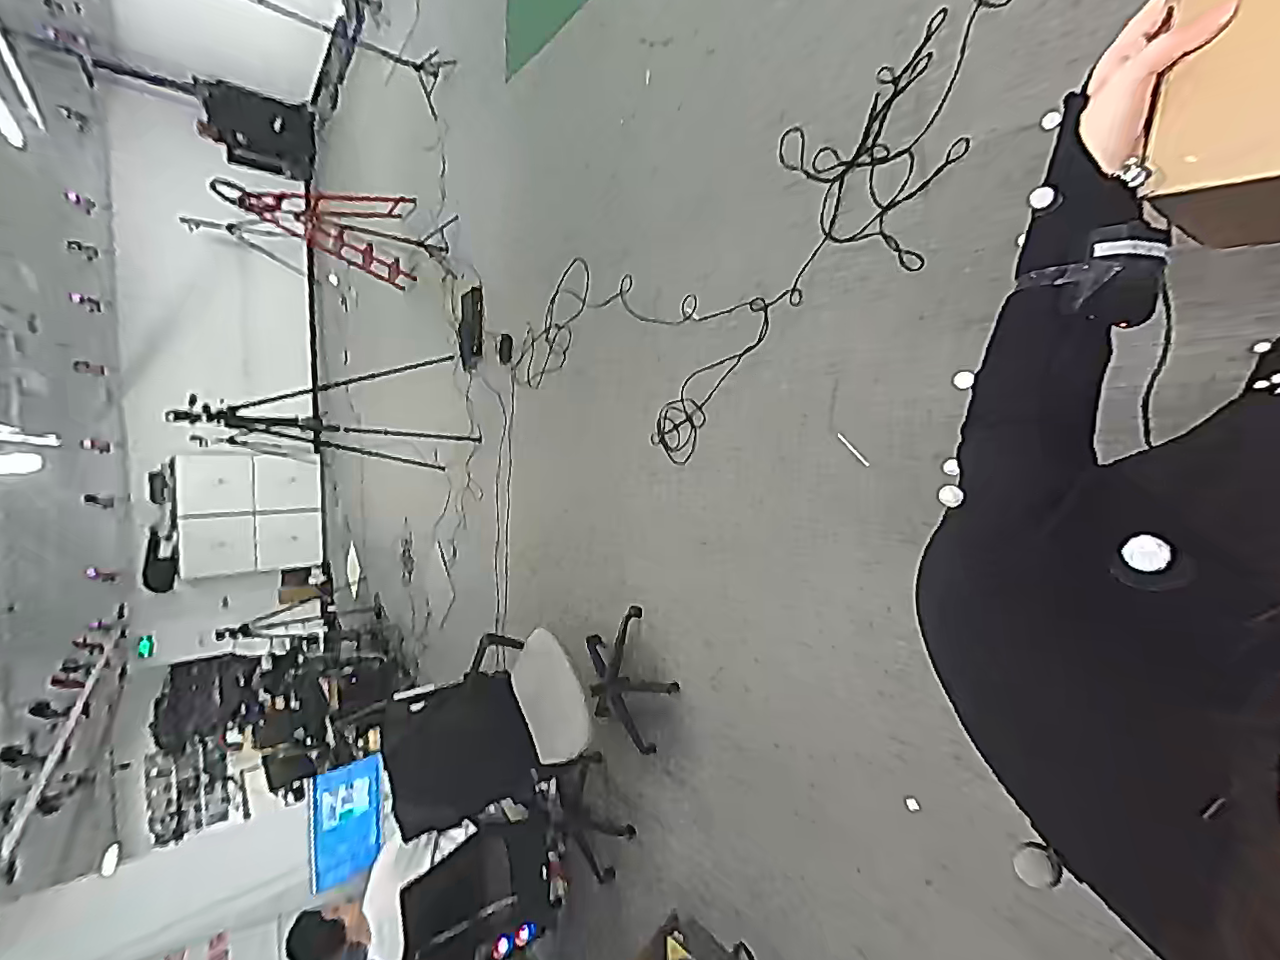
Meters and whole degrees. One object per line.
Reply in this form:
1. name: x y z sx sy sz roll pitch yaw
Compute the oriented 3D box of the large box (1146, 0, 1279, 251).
1. large box: 0.618 -0.339 0.308 0.408 0.320 0.320 16 109 52
